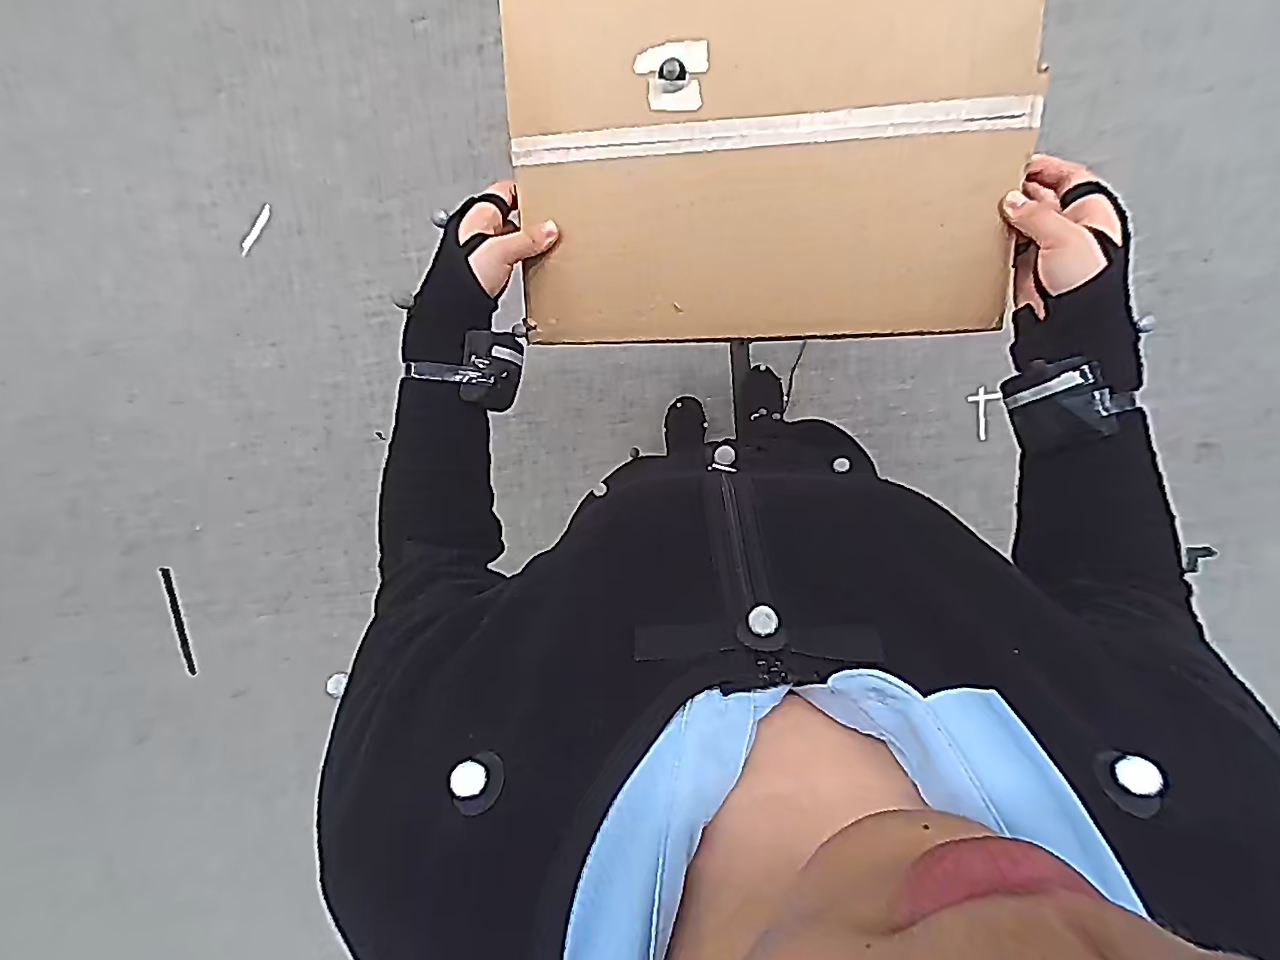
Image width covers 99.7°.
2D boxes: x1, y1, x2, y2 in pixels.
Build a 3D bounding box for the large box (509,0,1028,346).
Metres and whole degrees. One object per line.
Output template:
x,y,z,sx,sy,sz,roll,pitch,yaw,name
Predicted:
0.117,-0.314,0.588,0.408,0.320,0.320,-1,102,9,large box
